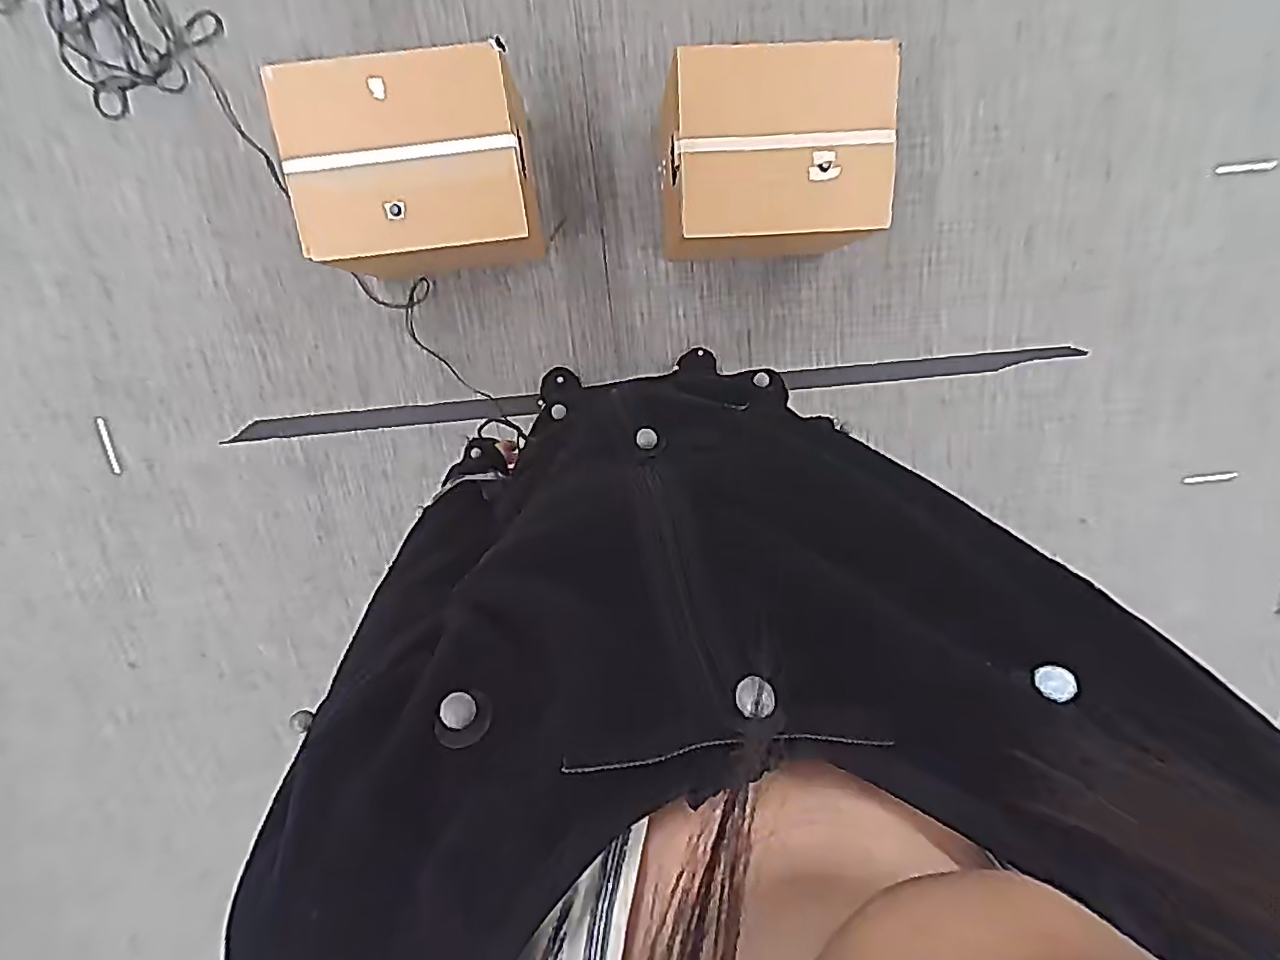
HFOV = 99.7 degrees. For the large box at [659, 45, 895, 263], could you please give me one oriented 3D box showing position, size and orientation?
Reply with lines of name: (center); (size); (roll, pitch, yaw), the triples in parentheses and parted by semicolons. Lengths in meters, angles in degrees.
large box: (0.261, -0.656, 1.143); (0.408, 0.320, 0.320); (-4, 105, -4)
